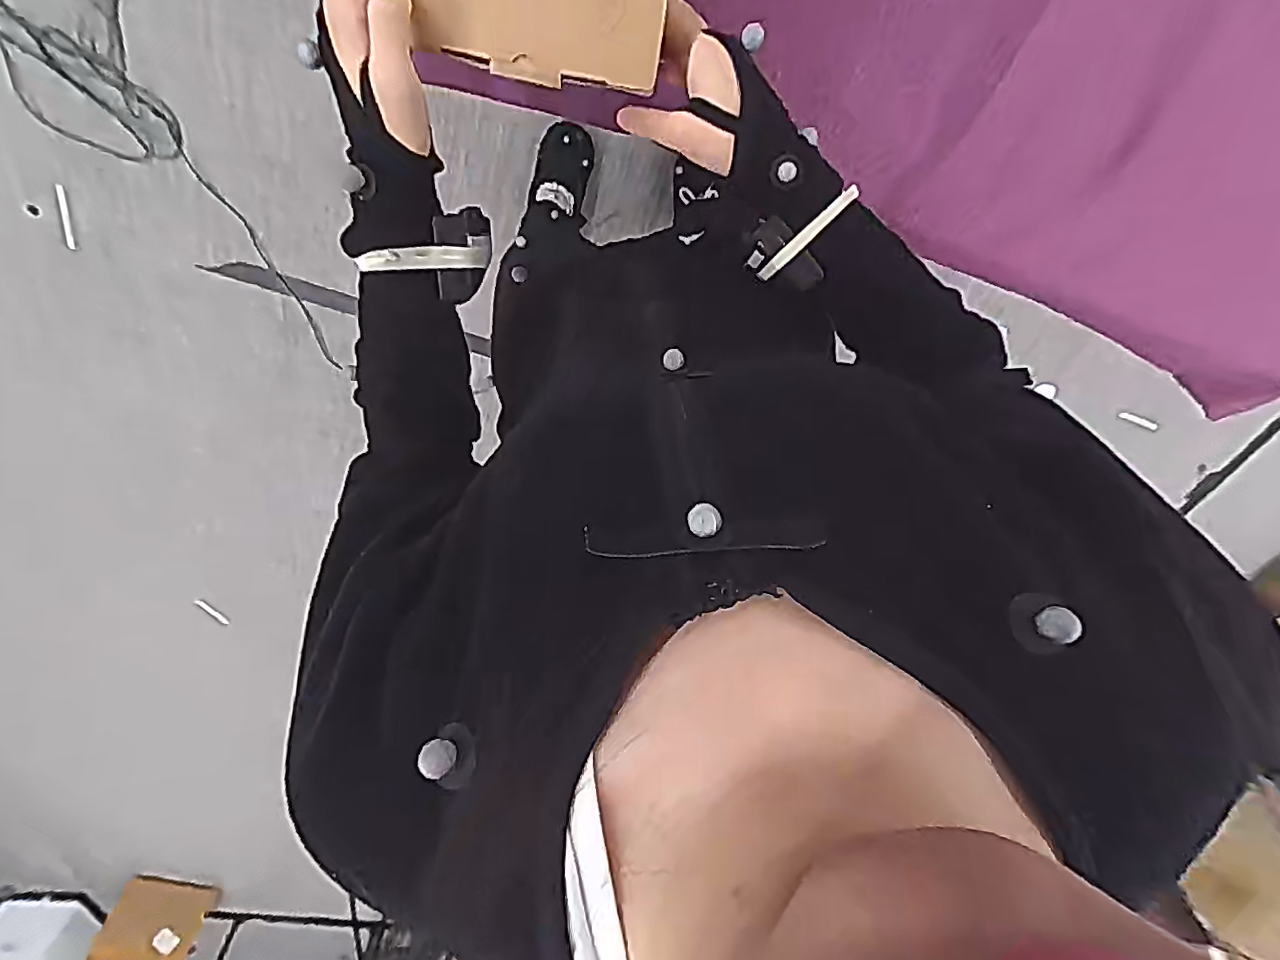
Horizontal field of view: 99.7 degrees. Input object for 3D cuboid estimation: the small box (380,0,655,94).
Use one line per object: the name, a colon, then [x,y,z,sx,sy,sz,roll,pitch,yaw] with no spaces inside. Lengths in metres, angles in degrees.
small box: [-0.068,-0.380,0.353,0.168,0.176,0.179,5,129,-10]
